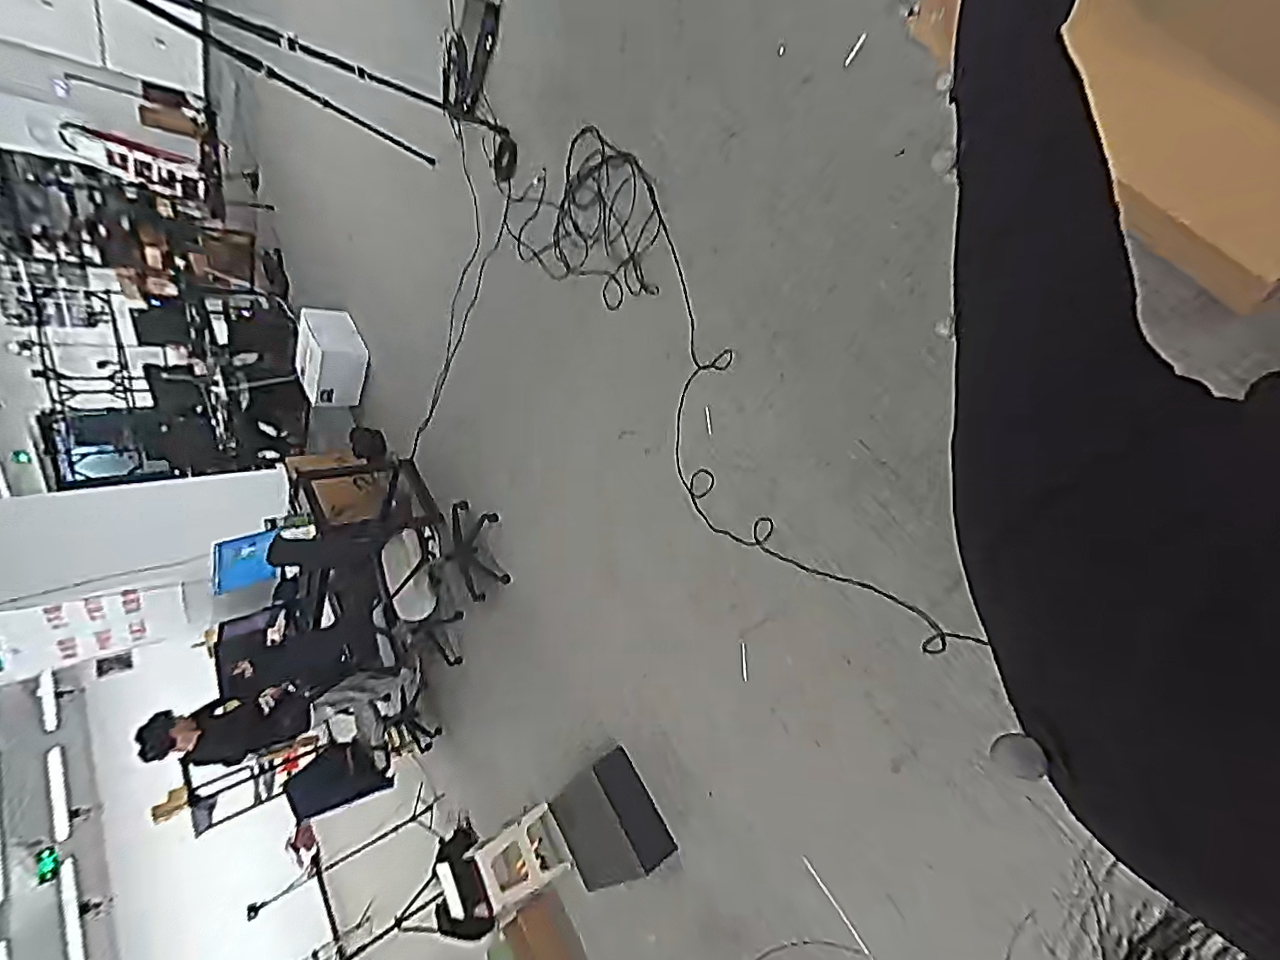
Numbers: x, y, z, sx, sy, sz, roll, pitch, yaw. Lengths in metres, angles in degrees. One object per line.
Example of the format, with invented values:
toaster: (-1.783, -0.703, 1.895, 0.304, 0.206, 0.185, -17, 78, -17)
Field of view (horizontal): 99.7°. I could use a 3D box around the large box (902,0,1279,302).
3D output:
large box: (0.548, -0.418, 0.486, 0.408, 0.320, 0.320, 58, 132, 23)
